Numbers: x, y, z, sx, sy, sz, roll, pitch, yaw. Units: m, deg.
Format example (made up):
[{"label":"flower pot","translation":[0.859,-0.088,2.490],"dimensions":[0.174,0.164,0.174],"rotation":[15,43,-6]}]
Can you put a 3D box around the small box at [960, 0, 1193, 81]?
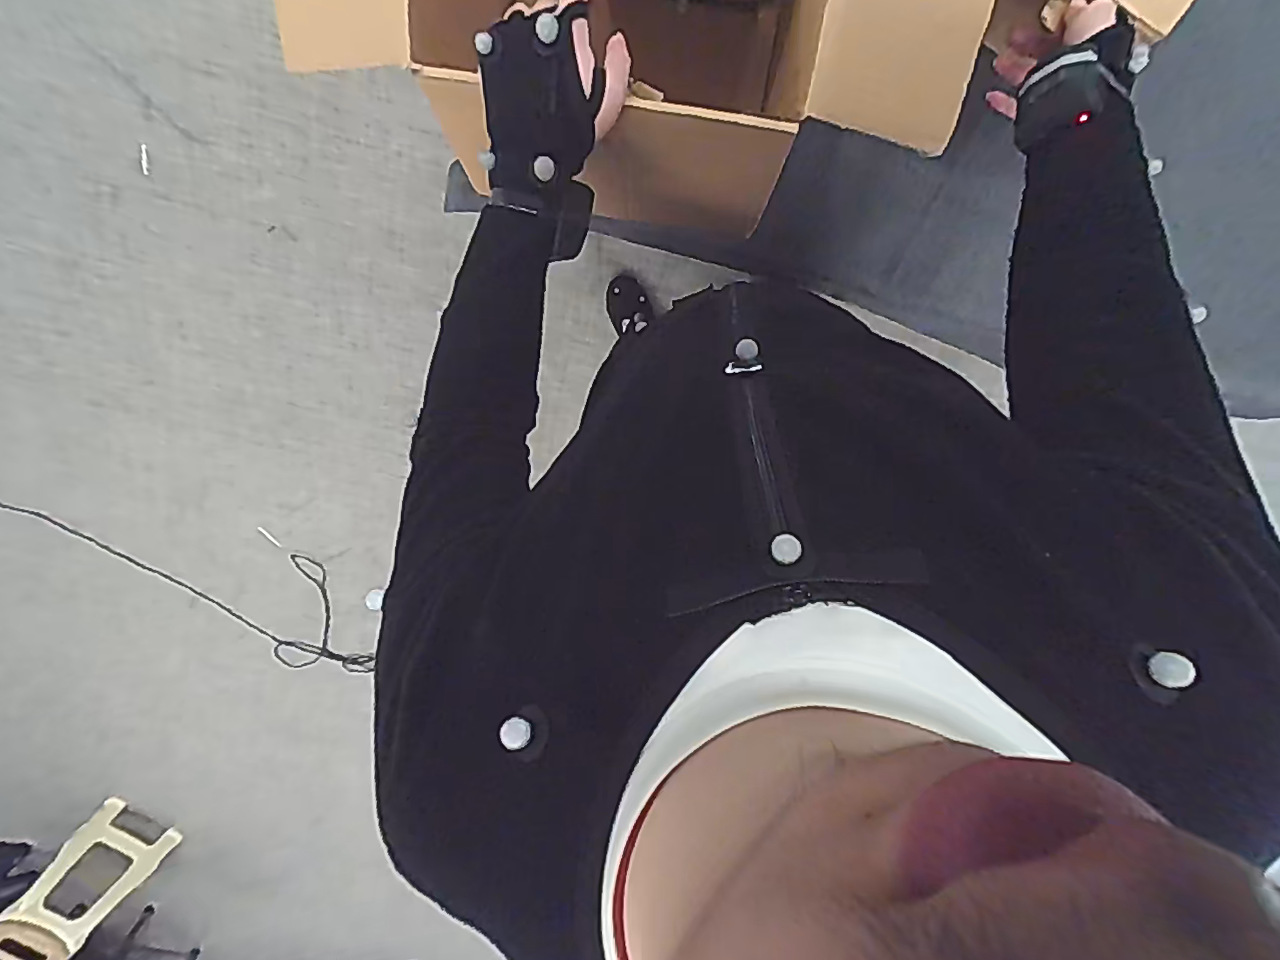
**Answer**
[{"label":"small box","translation":[0.453,-0.539,0.528],"dimensions":[0.168,0.176,0.179],"rotation":[27,111,-9]}]
